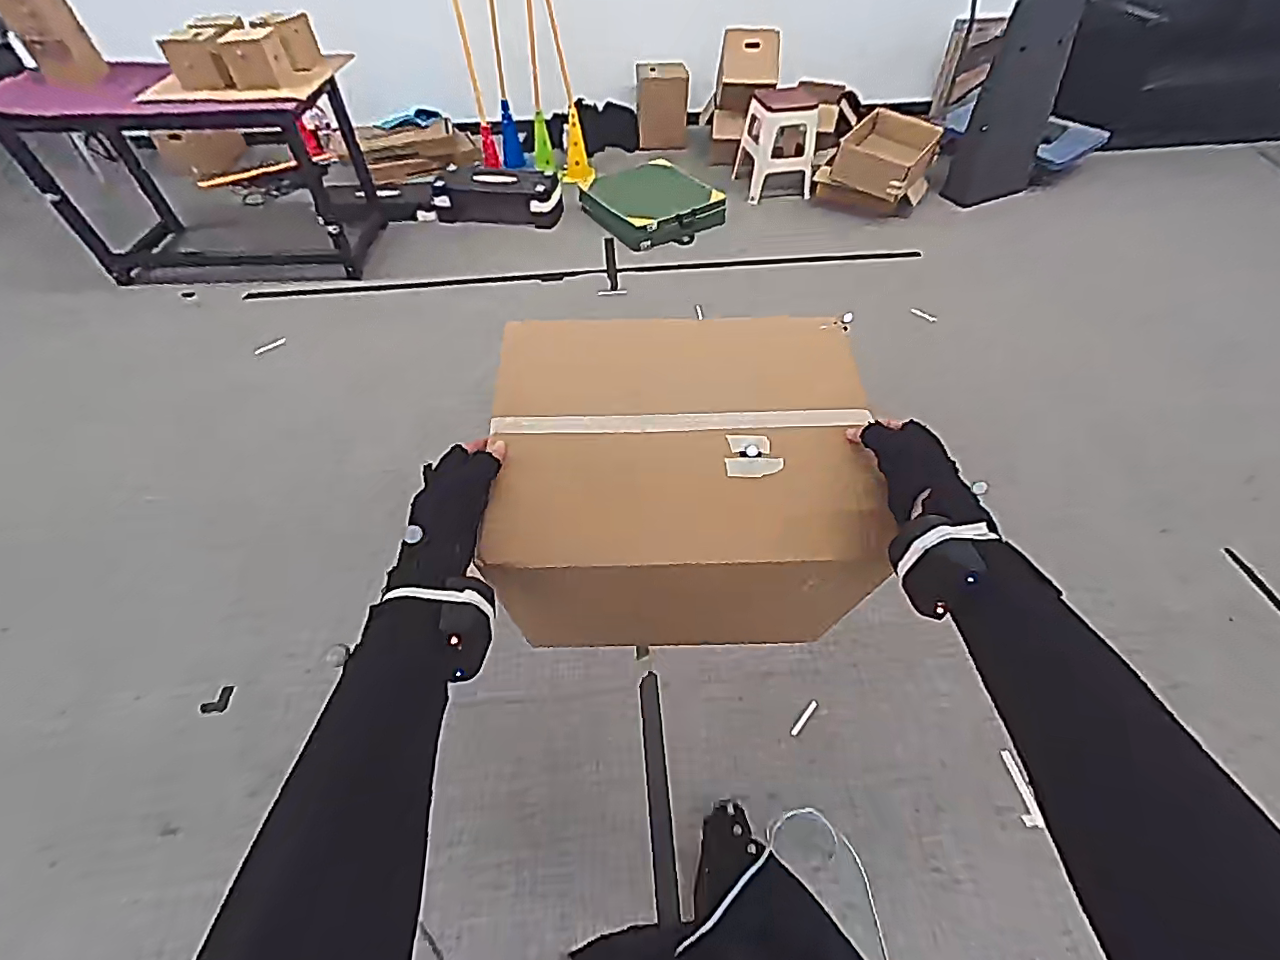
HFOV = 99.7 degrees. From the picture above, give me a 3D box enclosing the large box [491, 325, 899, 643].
[{"bbox_3d":[0.046,0.019,0.719,0.408,0.320,0.320,-1,60,-1],"label":"large box"}]
